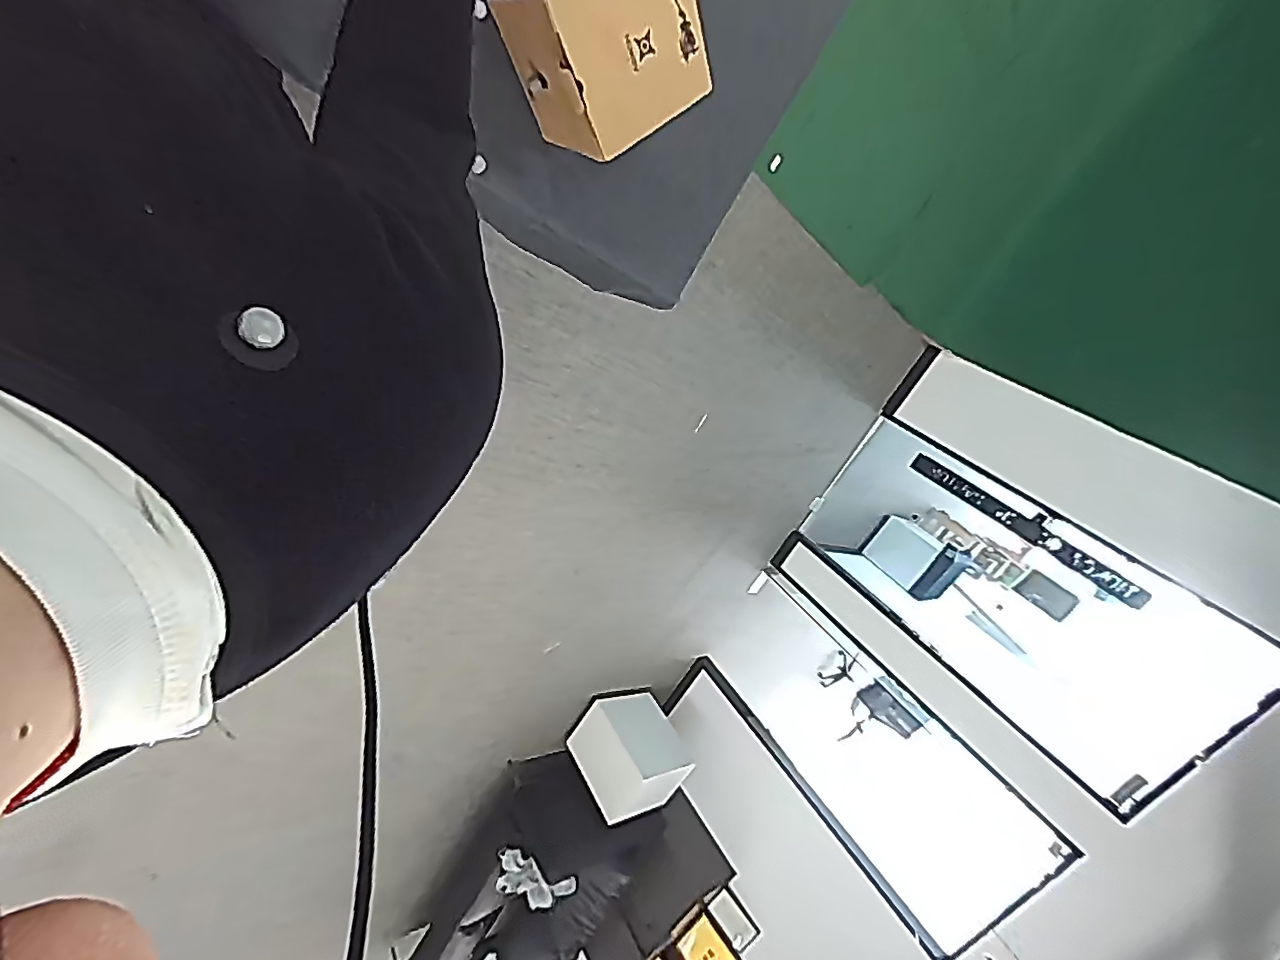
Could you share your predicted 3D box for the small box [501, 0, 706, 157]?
[{"bbox_3d":[-0.049,-0.534,0.663,0.179,0.176,0.168,-36,141,-8],"label":"small box"}]
